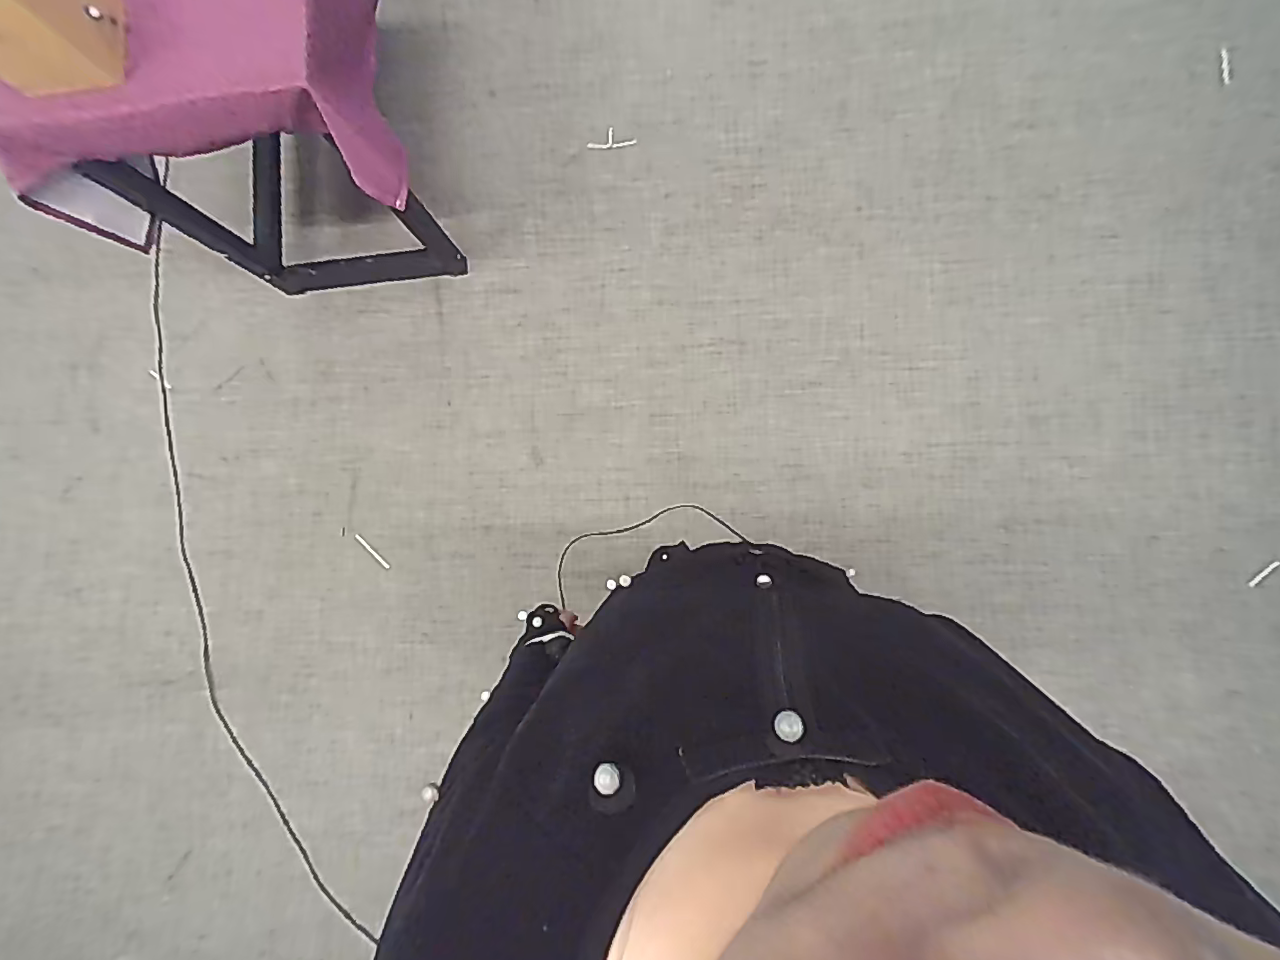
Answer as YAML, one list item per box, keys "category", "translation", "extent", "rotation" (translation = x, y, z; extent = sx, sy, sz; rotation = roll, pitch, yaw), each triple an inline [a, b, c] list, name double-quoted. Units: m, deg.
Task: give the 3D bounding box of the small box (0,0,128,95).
- category: "small box"
  translation: [-0.987, -0.758, 0.866]
  extent: [0.179, 0.176, 0.168]
  rotation: [-4, 85, 4]
